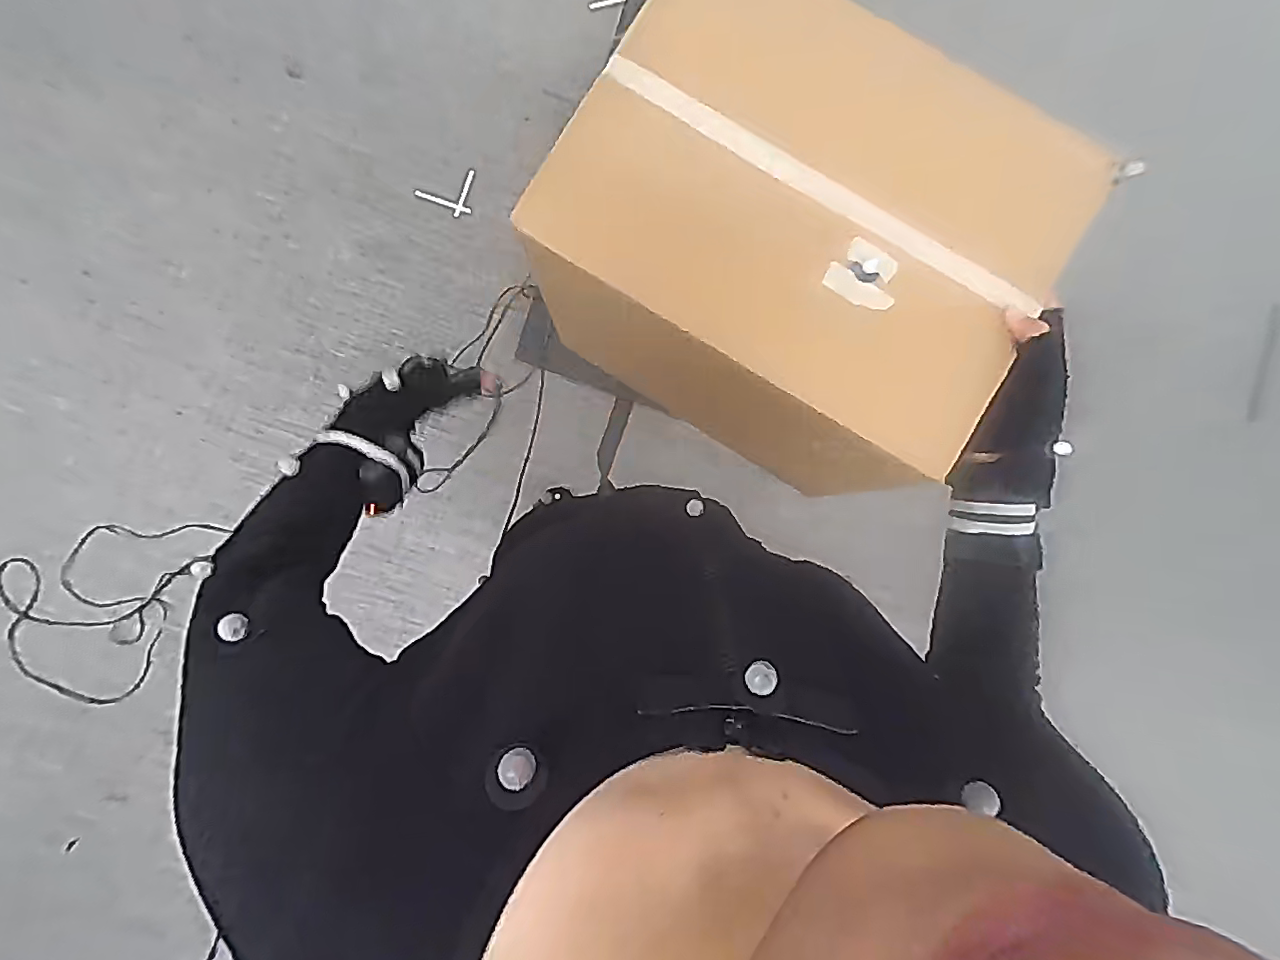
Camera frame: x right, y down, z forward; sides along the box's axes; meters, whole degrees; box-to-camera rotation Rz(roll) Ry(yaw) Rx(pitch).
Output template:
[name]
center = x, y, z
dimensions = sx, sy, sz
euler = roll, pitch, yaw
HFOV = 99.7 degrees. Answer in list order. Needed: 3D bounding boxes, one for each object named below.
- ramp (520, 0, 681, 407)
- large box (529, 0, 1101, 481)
[ramp]
center = 0.058, -0.740, 1.434
dimensions = 0.509, 0.206, 0.991
euler = 17, 87, -6
[large box]
center = 0.147, -0.236, 0.605
dimensions = 0.408, 0.320, 0.320
euler = 32, 87, 1
